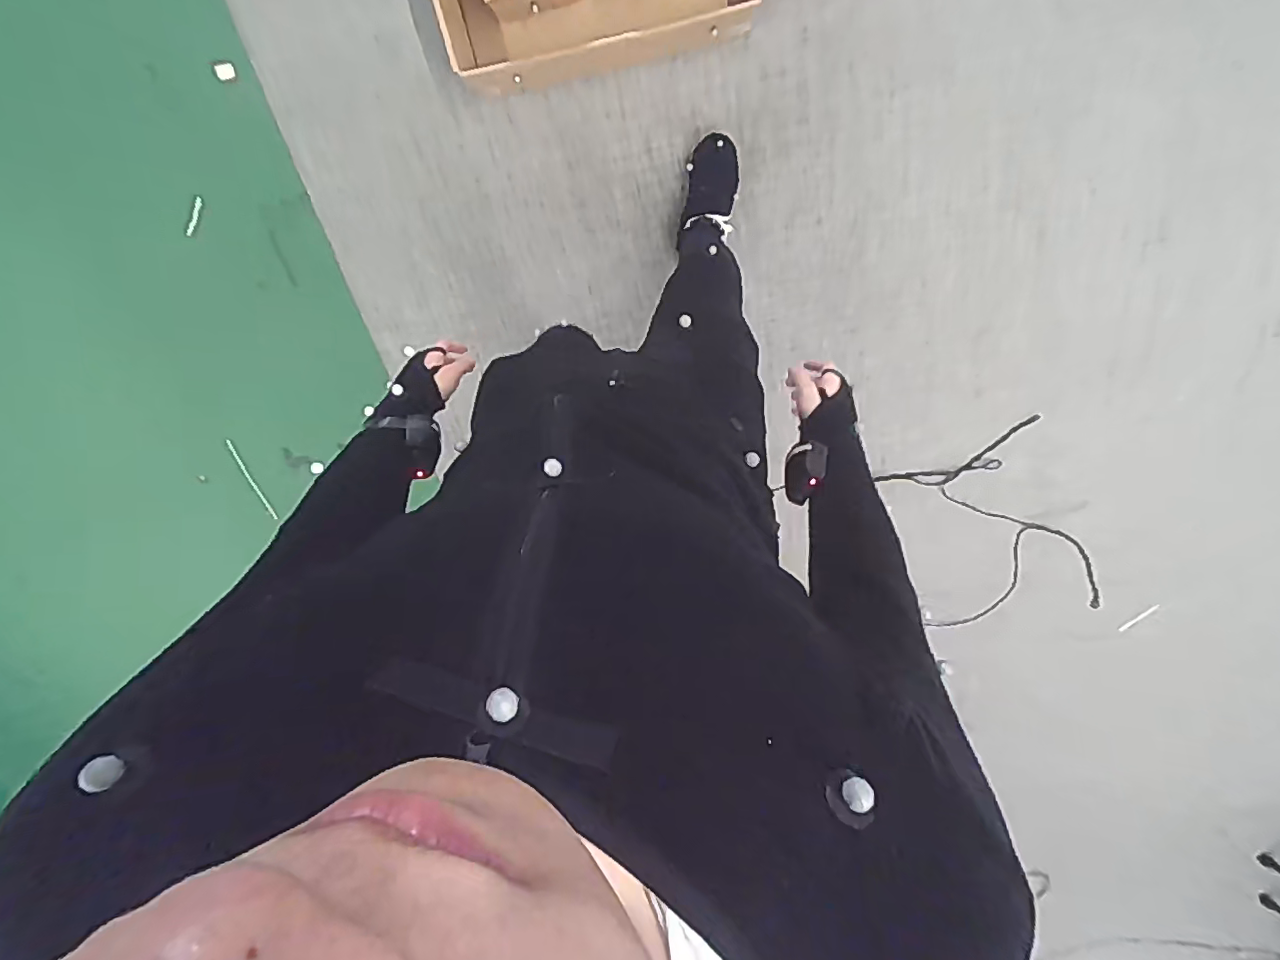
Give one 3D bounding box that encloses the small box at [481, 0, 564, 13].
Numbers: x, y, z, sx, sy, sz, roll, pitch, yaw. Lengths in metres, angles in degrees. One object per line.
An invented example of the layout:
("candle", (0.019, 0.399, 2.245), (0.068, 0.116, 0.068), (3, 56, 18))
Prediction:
("small box", (-0.227, -1.003, 1.001), (0.168, 0.176, 0.179), (-9, 119, 8))
